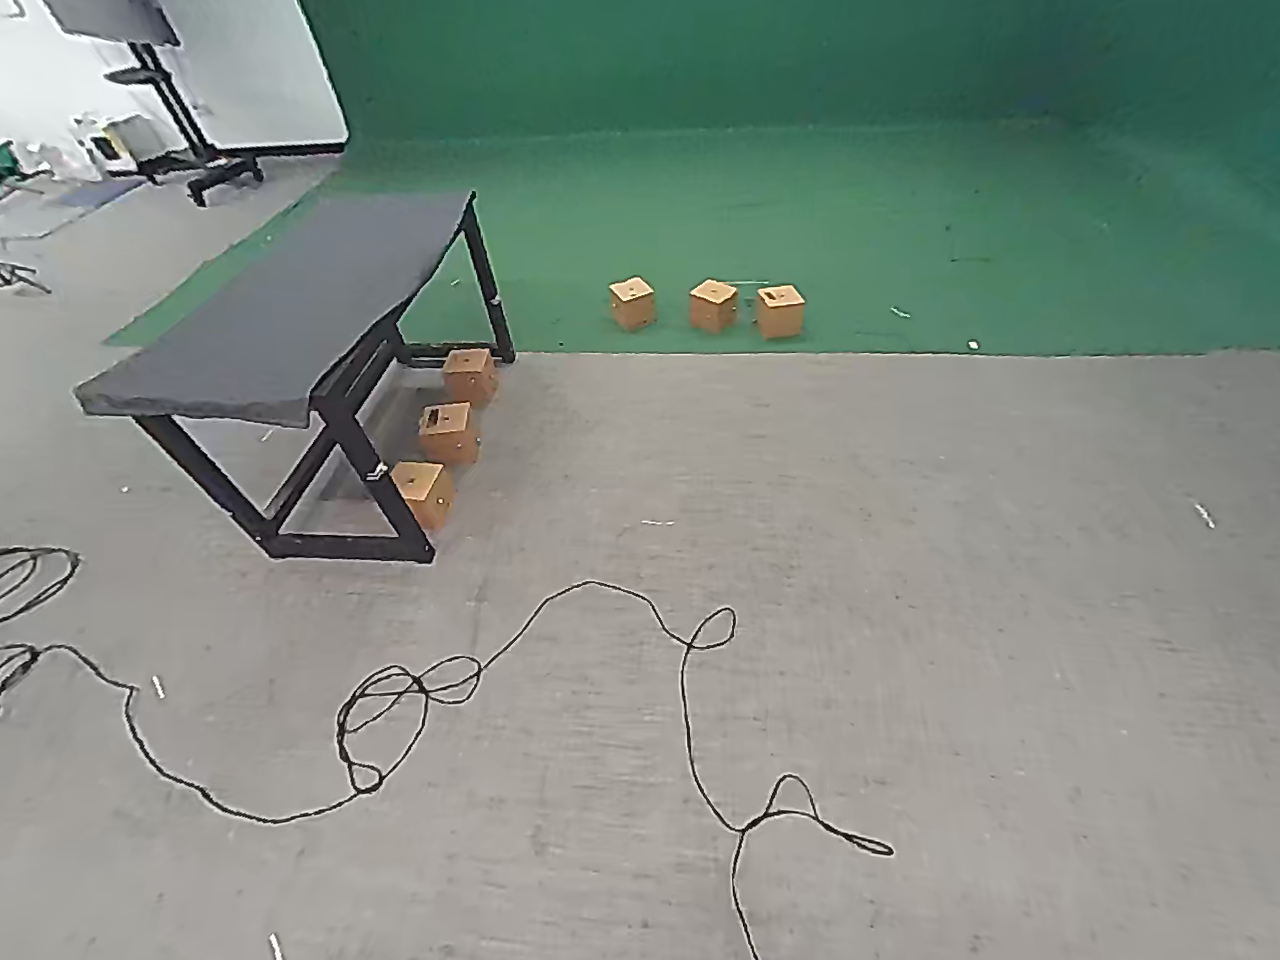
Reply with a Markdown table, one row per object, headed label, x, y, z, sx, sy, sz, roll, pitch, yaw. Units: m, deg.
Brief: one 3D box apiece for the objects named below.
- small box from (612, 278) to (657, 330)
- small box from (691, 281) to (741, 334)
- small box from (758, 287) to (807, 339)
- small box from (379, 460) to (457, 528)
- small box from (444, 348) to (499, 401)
| label | x | y | z | sx | sy | sz | roll | pitch | yaw |
| --- | --- | --- | --- | --- | --- | --- | --- | --- | --- |
| small box | -0.025 | -0.869 | 2.672 | 0.168 | 0.176 | 0.179 | -22 | 49 | -15 |
| small box | 0.364 | -0.829 | 2.606 | 0.179 | 0.176 | 0.168 | 30 | 56 | 28 |
| small box | 0.660 | -0.779 | 2.537 | 0.179 | 0.176 | 0.168 | -9 | 48 | -5 |
| small box | -0.768 | 0.051 | 1.897 | 0.179 | 0.176 | 0.168 | 5 | 49 | 9 |
| small box | -0.723 | -0.457 | 2.347 | 0.179 | 0.176 | 0.168 | -2 | 47 | 3 |
